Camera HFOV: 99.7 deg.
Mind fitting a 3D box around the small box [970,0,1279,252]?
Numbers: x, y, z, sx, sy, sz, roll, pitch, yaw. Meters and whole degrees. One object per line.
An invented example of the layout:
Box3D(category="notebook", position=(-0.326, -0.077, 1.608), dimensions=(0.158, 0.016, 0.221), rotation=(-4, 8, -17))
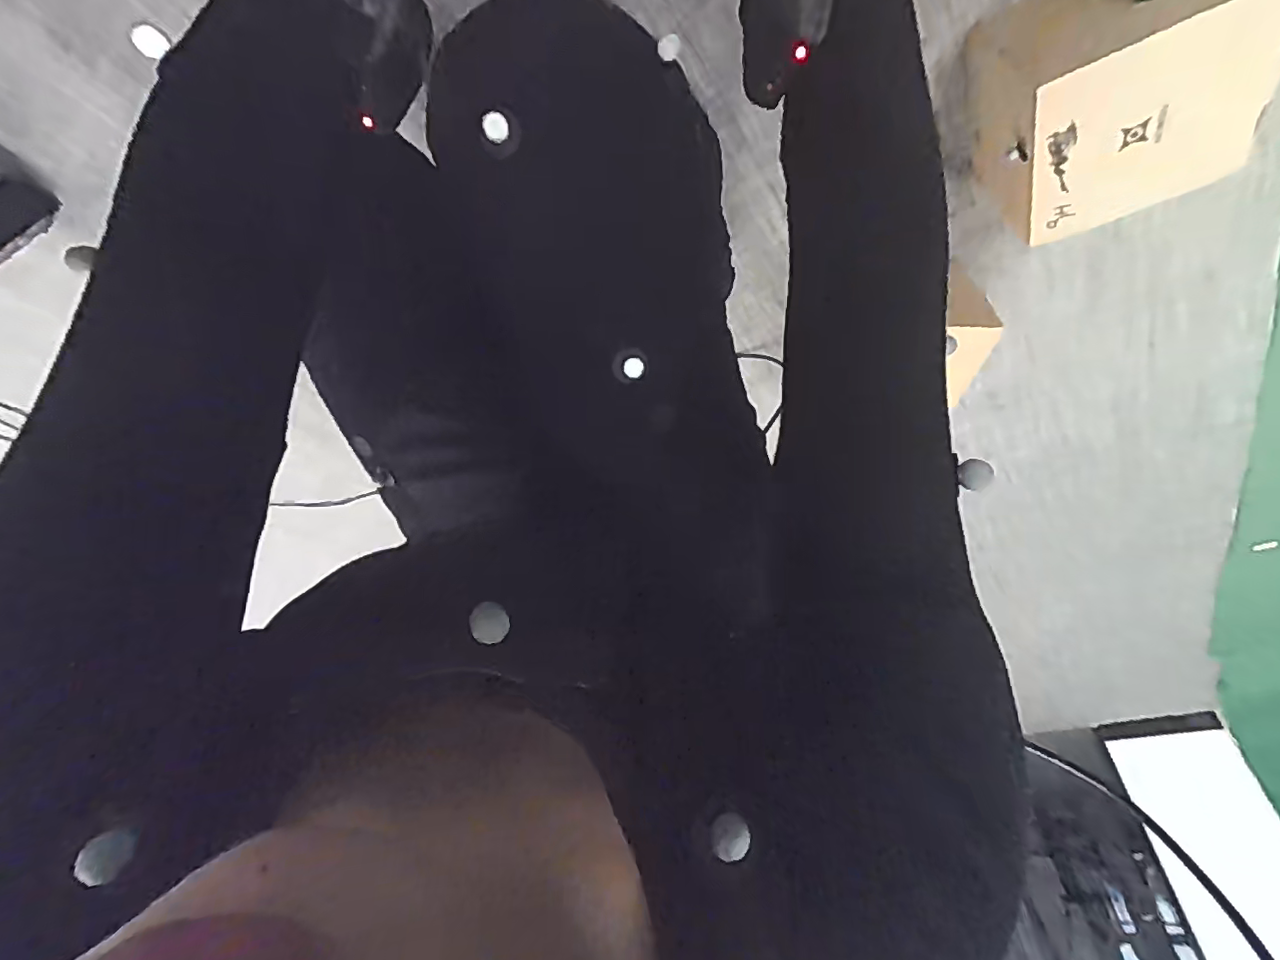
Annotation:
Box3D(category="small box", position=(0.448, -0.369, 0.526), dimensions=(0.179, 0.176, 0.168), rotation=(-17, 140, 22))
